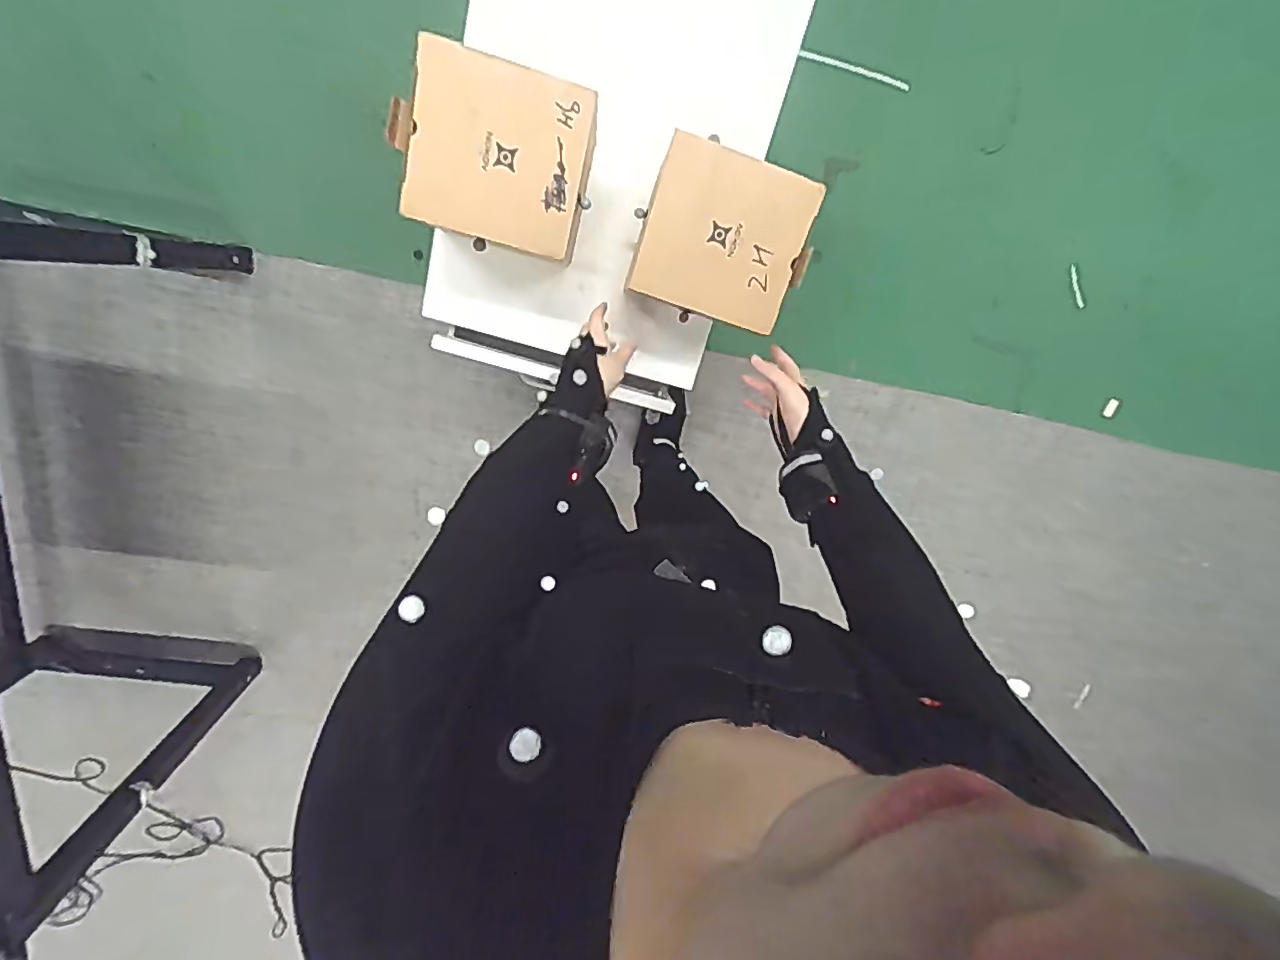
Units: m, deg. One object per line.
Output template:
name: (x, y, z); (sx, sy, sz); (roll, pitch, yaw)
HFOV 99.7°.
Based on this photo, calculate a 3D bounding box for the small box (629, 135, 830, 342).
small box: (0.091, -0.277, 0.656); (0.179, 0.176, 0.168); (16, 107, -8)
